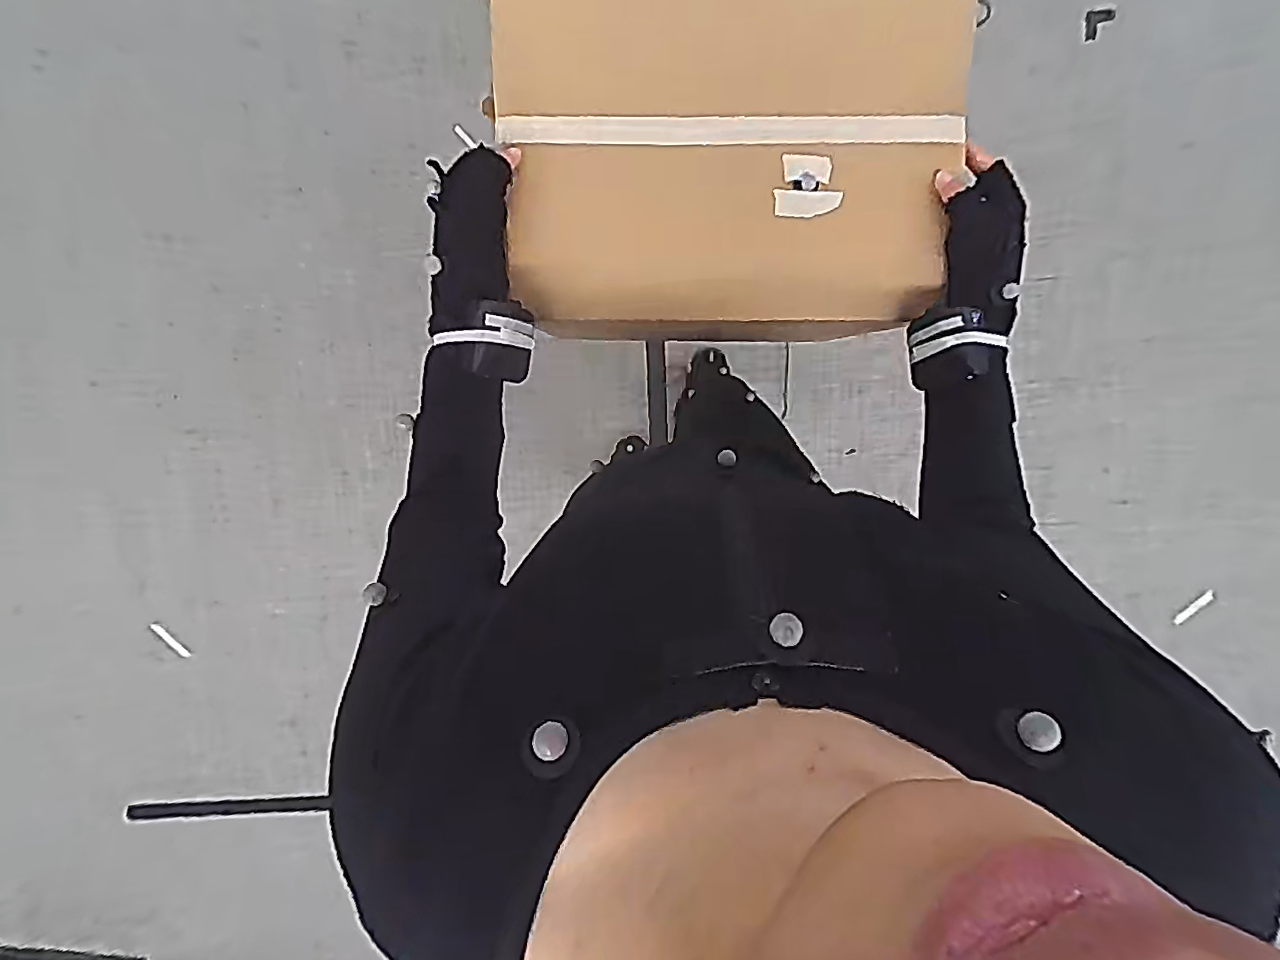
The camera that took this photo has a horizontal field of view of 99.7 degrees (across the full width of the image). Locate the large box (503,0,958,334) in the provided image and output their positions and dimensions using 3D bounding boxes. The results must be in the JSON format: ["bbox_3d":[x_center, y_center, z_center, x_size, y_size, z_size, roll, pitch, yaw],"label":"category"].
[{"bbox_3d":[0.077,-0.345,0.634,0.408,0.320,0.320,0,102,-1],"label":"large box"}]
